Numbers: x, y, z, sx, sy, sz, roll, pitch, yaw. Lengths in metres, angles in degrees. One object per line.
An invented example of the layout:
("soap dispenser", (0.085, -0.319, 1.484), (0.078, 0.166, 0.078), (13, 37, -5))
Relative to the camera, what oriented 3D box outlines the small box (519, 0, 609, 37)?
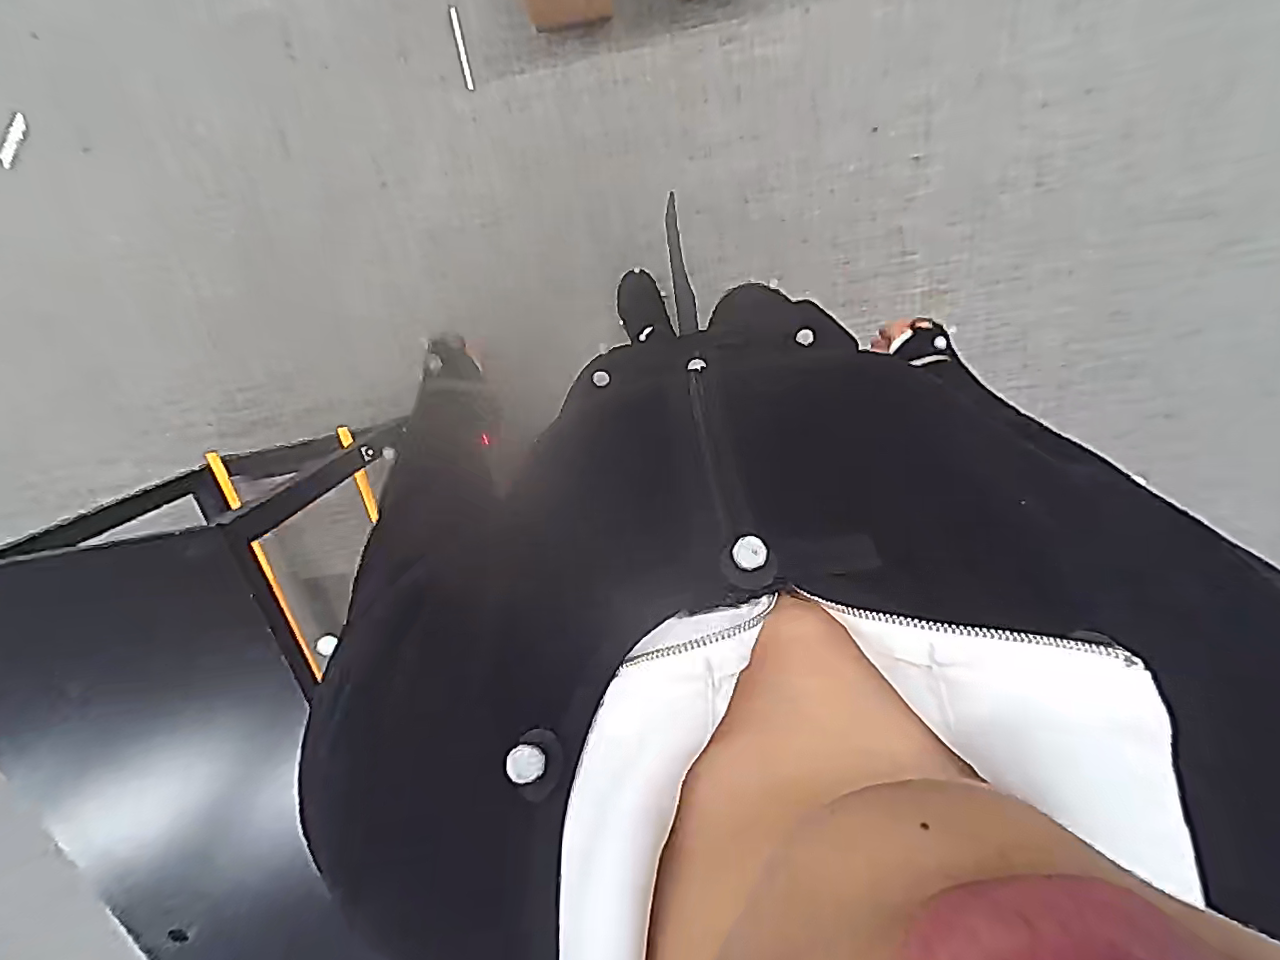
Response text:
("small box", (-0.158, -1.033, 1.084), (0.179, 0.176, 0.168), (-8, 109, 4))
